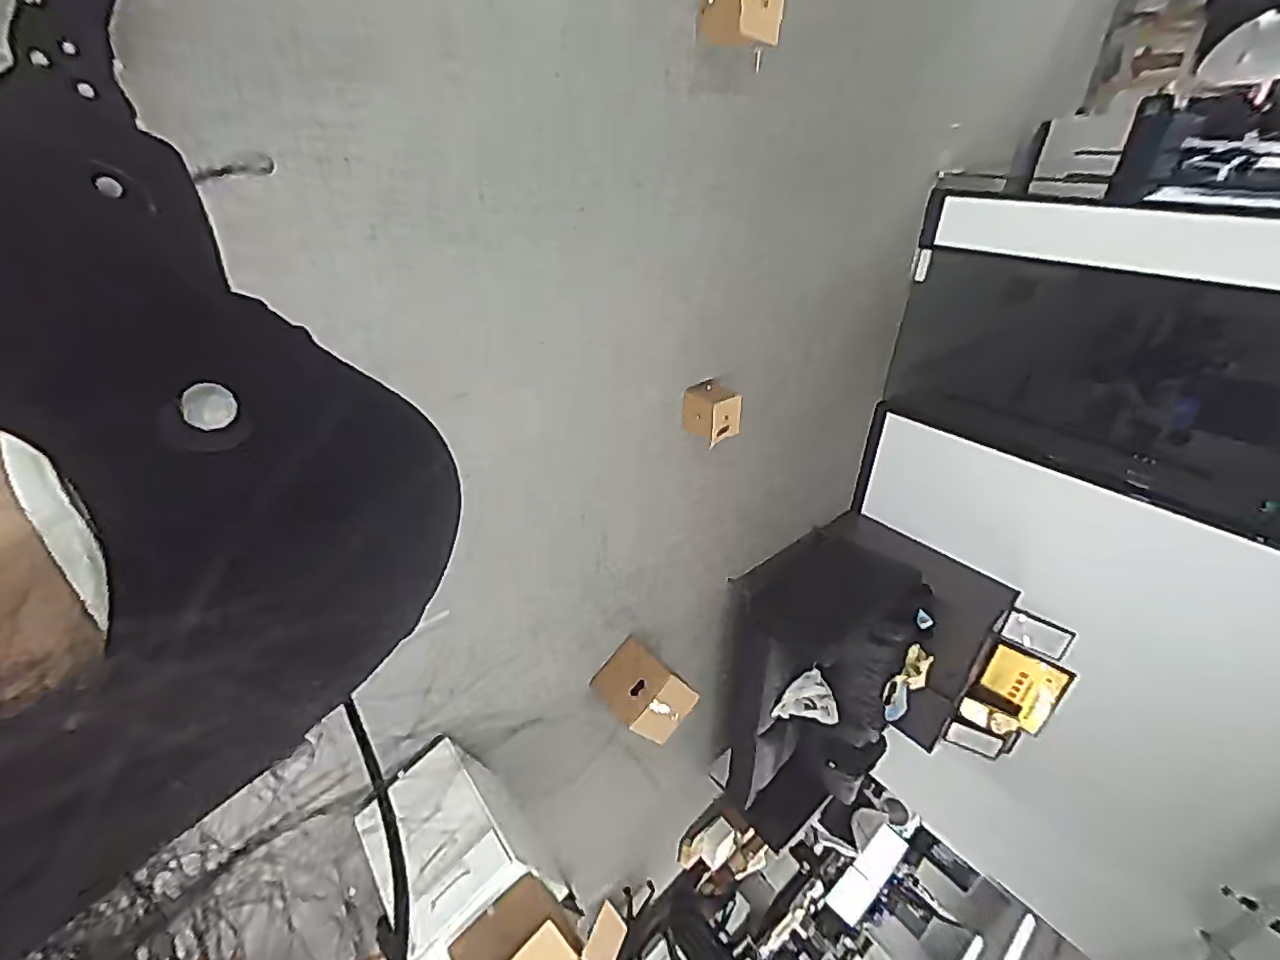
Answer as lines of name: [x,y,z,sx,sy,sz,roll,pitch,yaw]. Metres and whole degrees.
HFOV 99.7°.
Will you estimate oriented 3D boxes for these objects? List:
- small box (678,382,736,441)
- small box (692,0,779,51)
small box: [0.274,-0.288,2.245,0.168,0.176,0.179,-23,129,-33]
small box: [0.274,-1.347,1.543,0.179,0.176,0.168,-19,127,-36]
